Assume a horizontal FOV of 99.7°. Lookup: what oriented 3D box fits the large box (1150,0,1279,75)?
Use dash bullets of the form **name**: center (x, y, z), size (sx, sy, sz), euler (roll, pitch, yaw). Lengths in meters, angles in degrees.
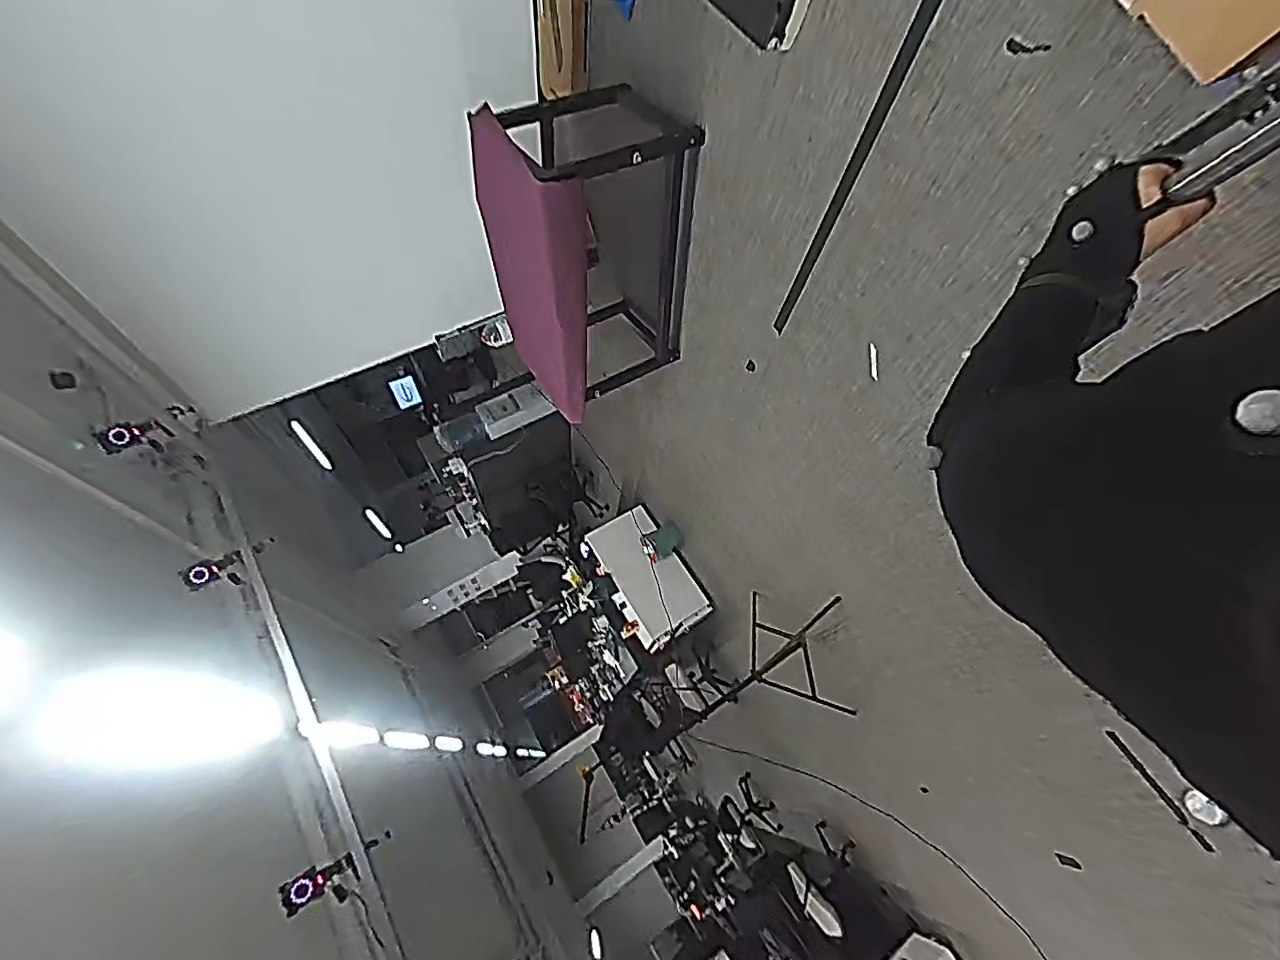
- **large box**: center (0.800, -0.740, 0.550), size (0.320, 0.320, 0.408), euler (59, 160, 6)
